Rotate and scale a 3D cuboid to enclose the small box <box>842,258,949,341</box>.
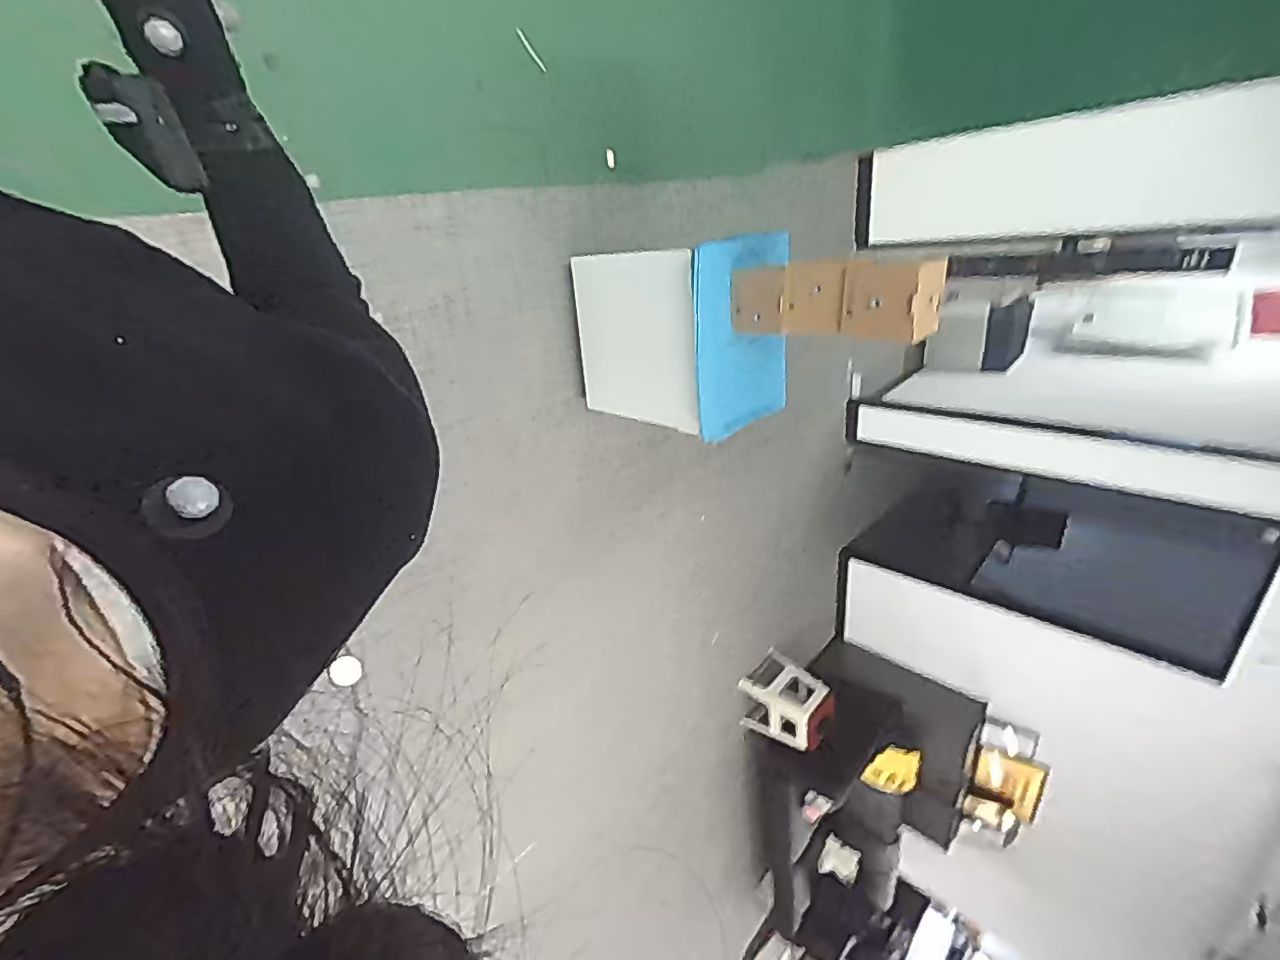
[{"bbox_3d":[0.588,-0.423,1.258,0.179,0.176,0.168,-25,122,-40],"label":"small box"}]

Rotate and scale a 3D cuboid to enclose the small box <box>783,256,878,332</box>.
[{"bbox_3d":[0.479,-0.472,1.371,0.179,0.176,0.168,-26,122,-40],"label":"small box"}]

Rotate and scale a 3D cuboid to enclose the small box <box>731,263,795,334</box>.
[{"bbox_3d":[0.365,-0.501,1.482,0.179,0.176,0.168,-27,123,-39],"label":"small box"}]
